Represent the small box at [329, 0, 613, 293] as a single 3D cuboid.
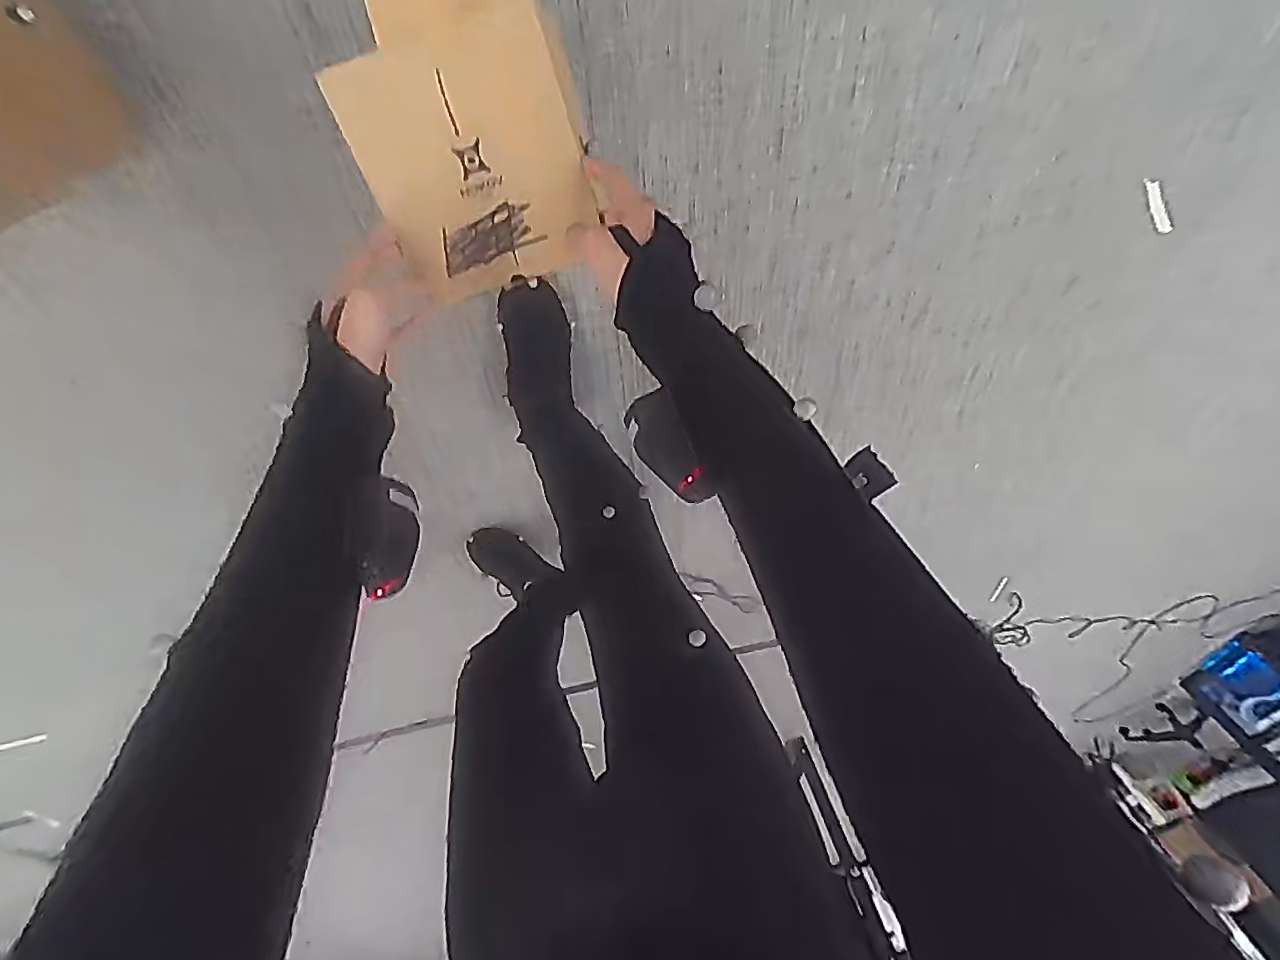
[{"bbox_3d":[-0.123,-0.296,0.486,0.168,0.176,0.179,-14,124,7],"label":"small box"}]
